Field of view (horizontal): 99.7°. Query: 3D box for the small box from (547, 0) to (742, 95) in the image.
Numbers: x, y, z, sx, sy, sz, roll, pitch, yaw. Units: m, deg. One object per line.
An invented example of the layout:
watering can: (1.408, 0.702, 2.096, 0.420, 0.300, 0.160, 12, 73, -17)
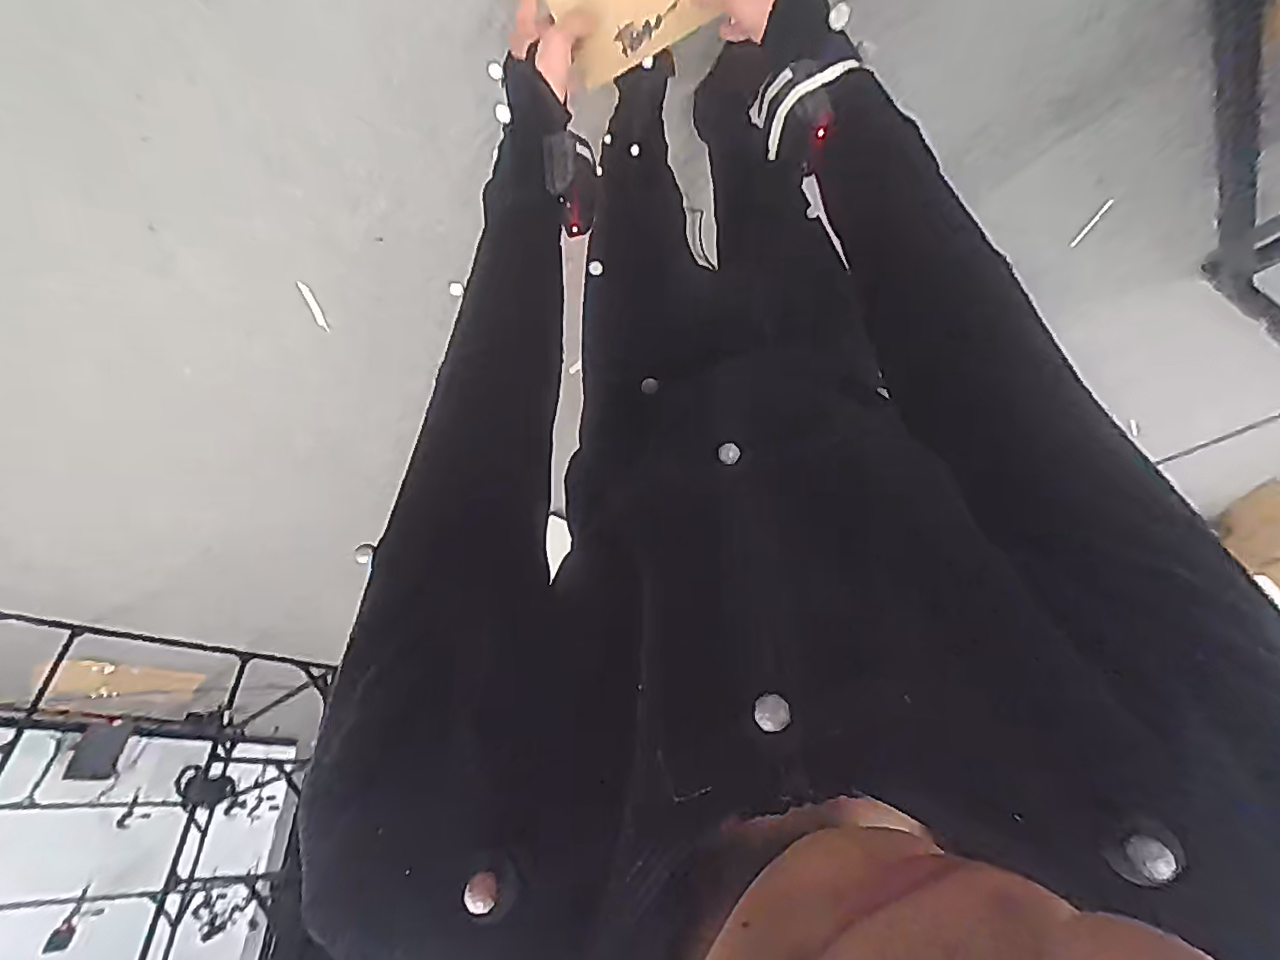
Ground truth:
small box: (-0.018, -0.526, 0.513, 0.168, 0.176, 0.179, -17, 143, 18)
